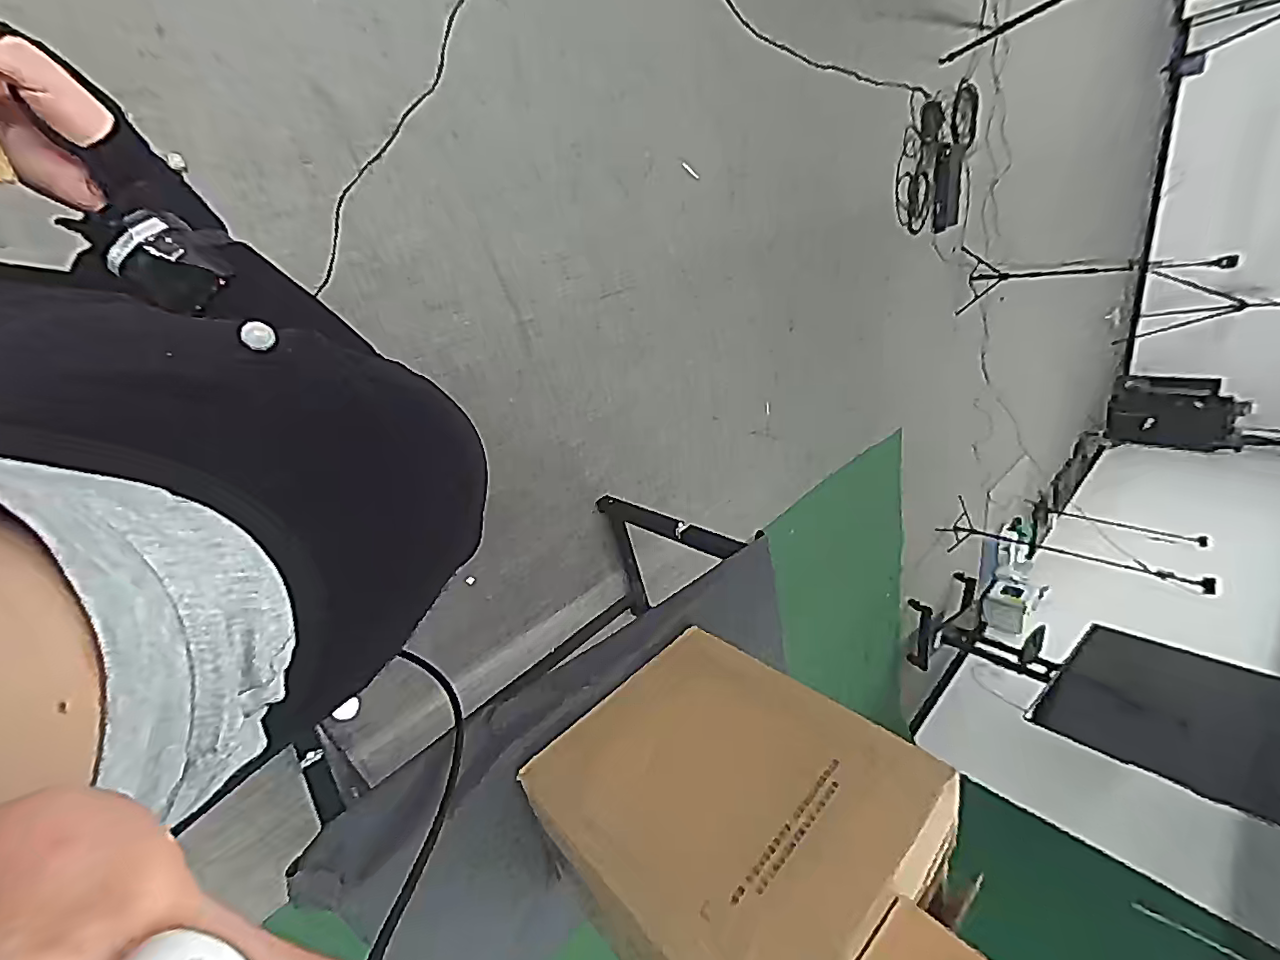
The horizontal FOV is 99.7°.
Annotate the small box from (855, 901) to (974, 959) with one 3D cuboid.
[{"bbox_3d":[0.382,0.736,0.730,0.179,0.176,0.168,-24,116,-36],"label":"small box"}]
